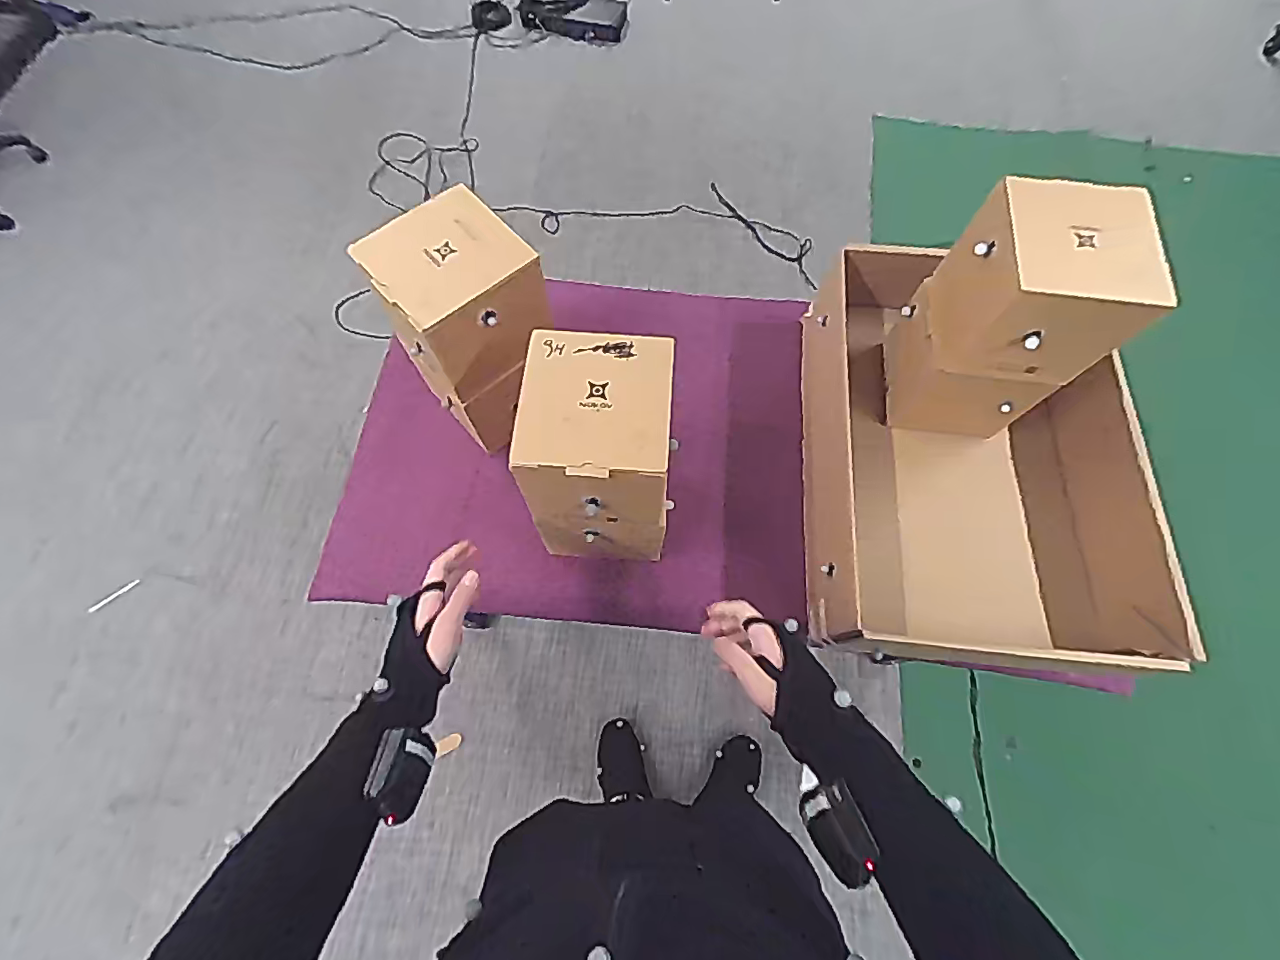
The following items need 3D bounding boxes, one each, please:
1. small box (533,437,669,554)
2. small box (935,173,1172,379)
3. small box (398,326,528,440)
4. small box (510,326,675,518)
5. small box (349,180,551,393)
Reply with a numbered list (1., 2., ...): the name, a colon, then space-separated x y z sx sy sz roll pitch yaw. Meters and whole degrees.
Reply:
1. small box: -0.050 0.007 0.806 0.179 0.176 0.168 3 67 0
2. small box: 0.500 -0.248 0.686 0.168 0.176 0.179 7 69 3
3. small box: -0.250 -0.187 0.883 0.168 0.176 0.179 -40 74 -16
4. small box: -0.048 -0.061 0.658 0.168 0.176 0.179 4 68 0
5. small box: -0.241 -0.251 0.733 0.179 0.176 0.168 -40 75 -15
